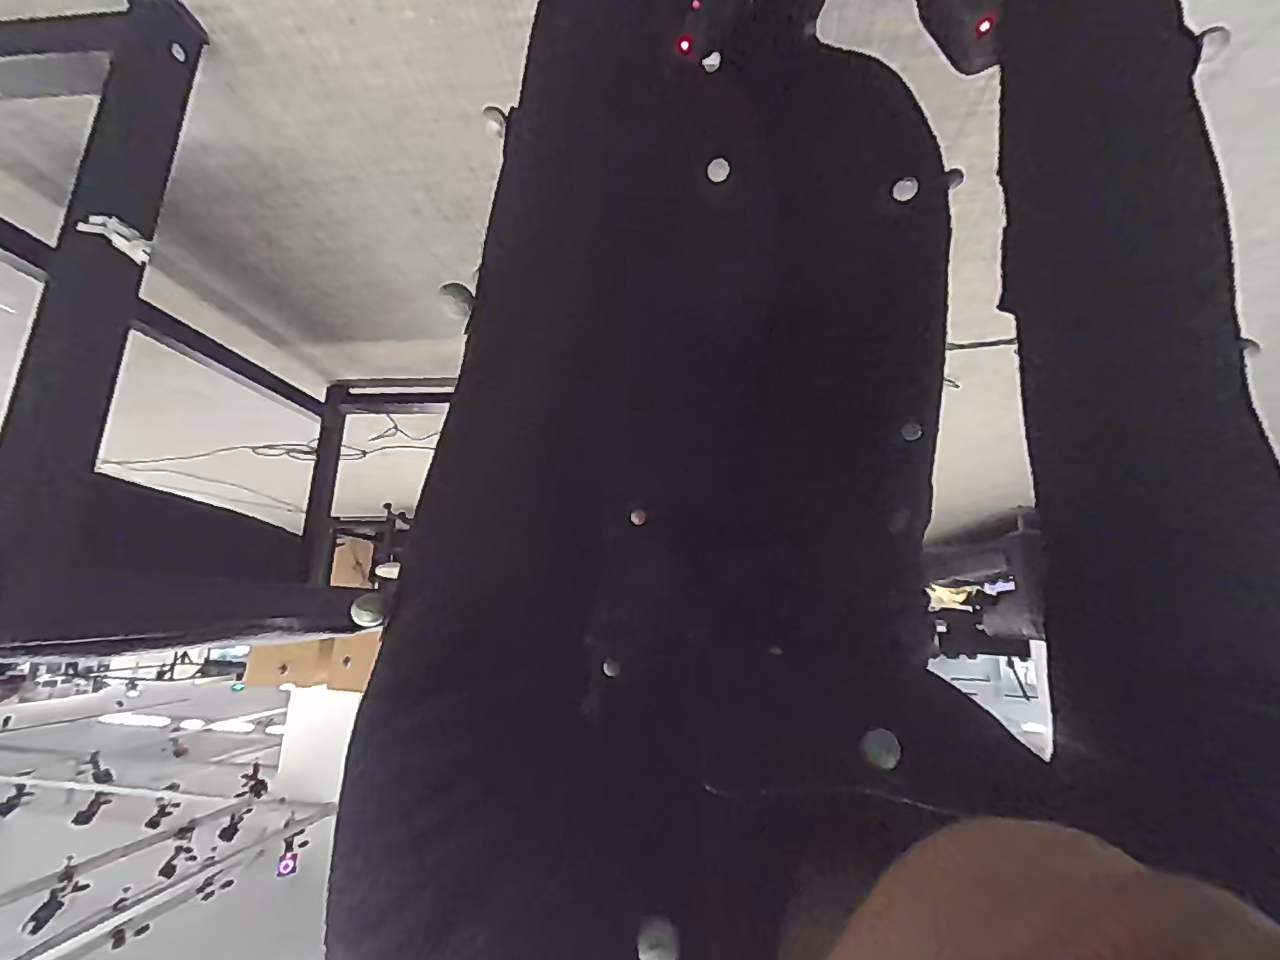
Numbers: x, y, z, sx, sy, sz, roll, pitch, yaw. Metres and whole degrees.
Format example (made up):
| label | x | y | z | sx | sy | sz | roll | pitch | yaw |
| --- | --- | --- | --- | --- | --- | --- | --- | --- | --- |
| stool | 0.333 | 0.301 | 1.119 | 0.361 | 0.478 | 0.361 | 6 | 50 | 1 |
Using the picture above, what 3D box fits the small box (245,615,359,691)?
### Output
| label | x | y | z | sx | sy | sz | roll | pitch | yaw |
| --- | --- | --- | --- | --- | --- | --- | --- | --- | --- |
| small box | -0.842 | 0.431 | 1.365 | 0.179 | 0.176 | 0.168 | 0 | 166 | 4 |
